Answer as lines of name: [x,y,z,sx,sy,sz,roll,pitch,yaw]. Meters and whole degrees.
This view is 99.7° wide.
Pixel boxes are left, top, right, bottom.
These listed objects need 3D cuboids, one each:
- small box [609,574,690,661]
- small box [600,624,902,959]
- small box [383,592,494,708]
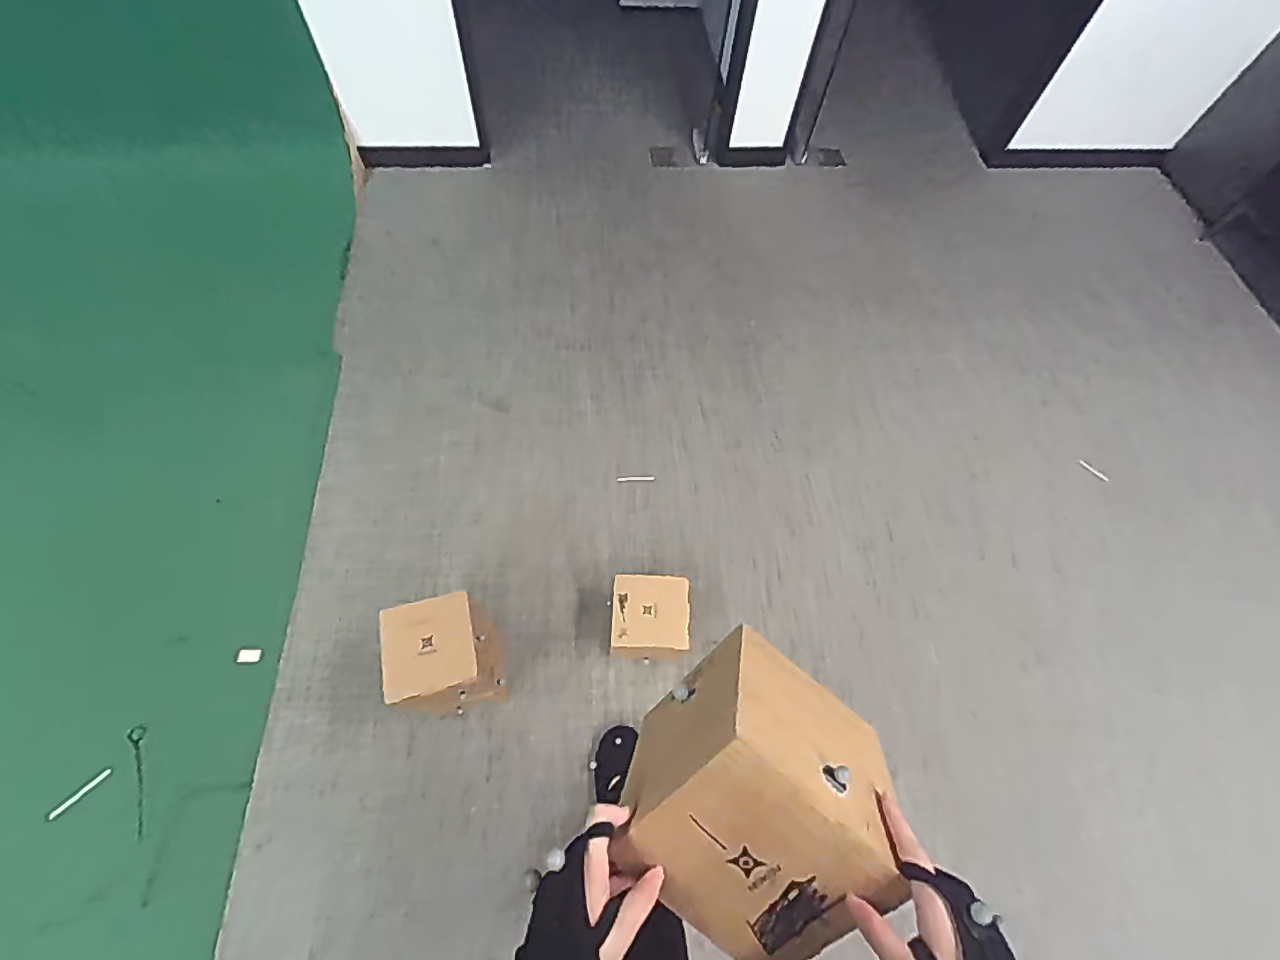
small box: [0.020,0.335,1.296,0.179,0.176,0.168,4,62,-2]
small box: [0.098,0.269,0.497,0.179,0.176,0.168,40,109,1]
small box: [-0.397,0.345,1.079,0.168,0.176,0.179,-12,63,-10]
